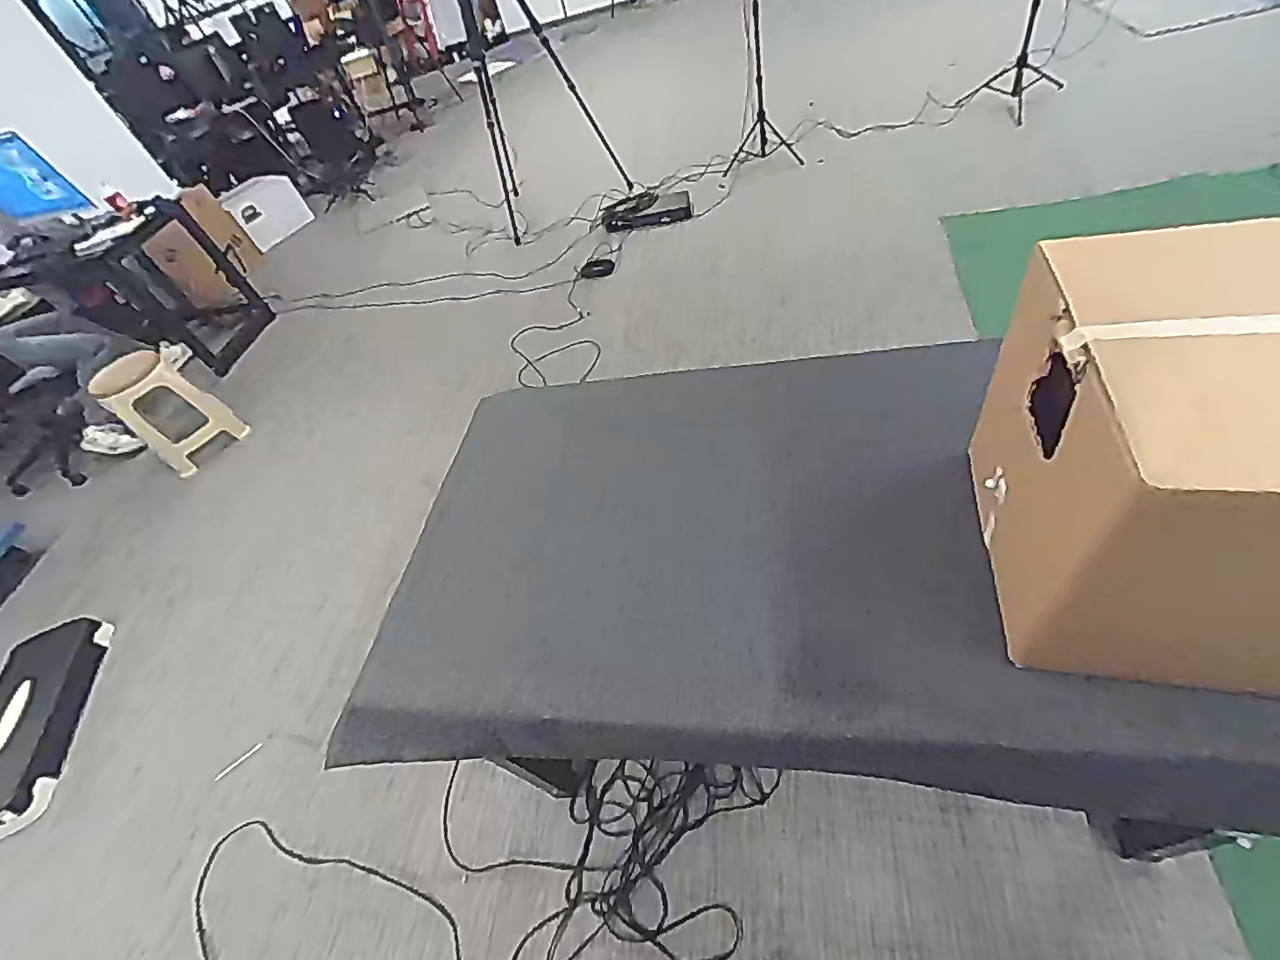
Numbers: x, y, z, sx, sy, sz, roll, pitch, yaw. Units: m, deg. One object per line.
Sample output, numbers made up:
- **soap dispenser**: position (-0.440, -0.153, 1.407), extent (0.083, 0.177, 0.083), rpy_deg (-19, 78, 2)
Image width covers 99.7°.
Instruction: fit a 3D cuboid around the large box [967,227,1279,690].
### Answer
- **large box**: position (0.580, -0.013, 0.494), extent (0.408, 0.320, 0.320), rpy_deg (2, 52, 18)
